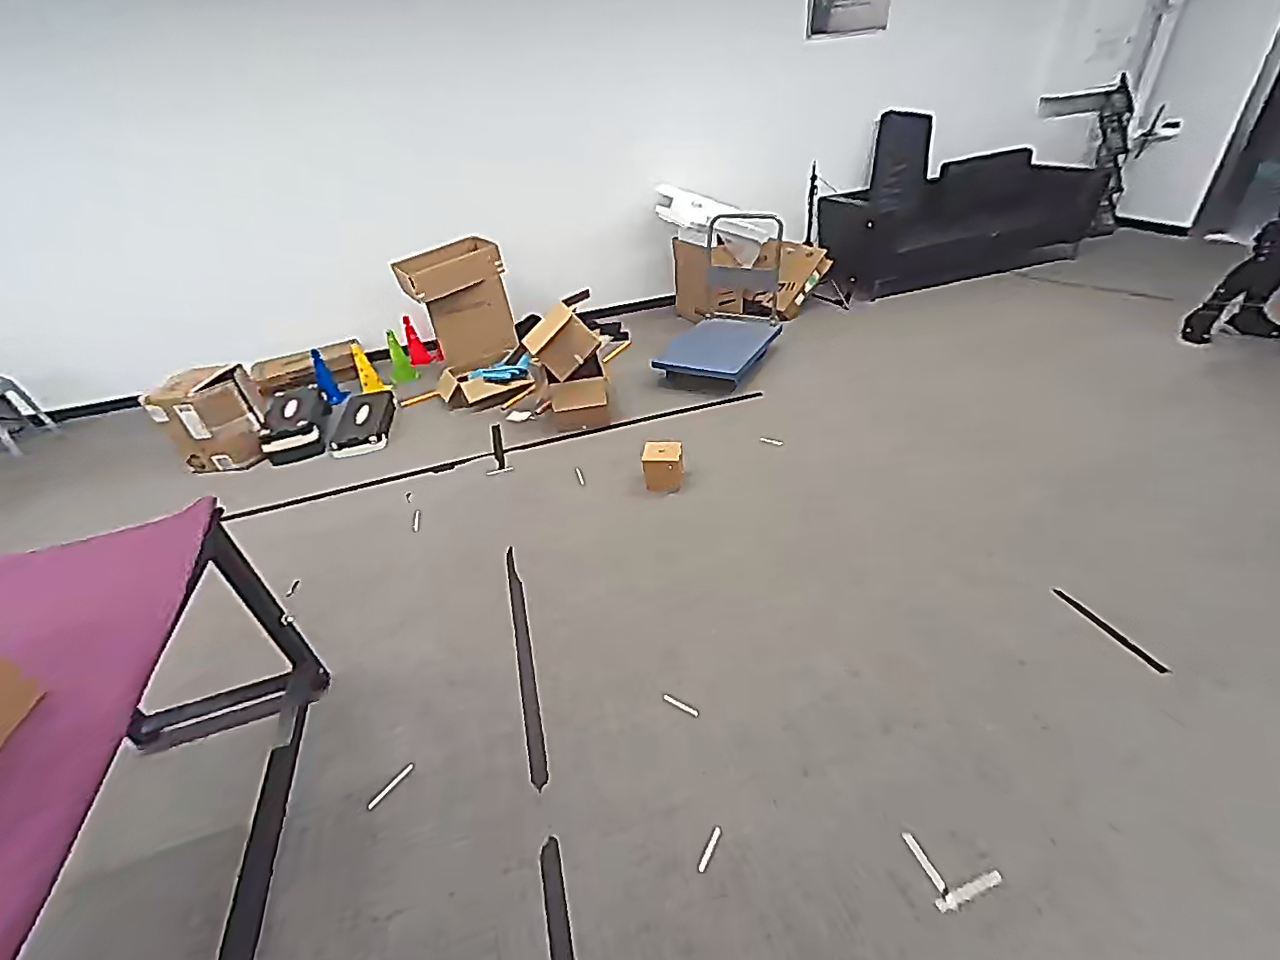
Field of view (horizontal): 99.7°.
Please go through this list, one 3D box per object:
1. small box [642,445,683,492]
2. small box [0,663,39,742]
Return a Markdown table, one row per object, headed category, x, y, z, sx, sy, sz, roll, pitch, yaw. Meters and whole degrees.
| category | x | y | z | sx | sy | sz | roll | pitch | yaw |
| --- | --- | --- | --- | --- | --- | --- | --- | --- | --- |
| small box | 0.112 | -0.055 | 2.603 | 0.179 | 0.176 | 0.168 | 1 | 35 | 10 |
| small box | -1.167 | 0.389 | 0.876 | 0.168 | 0.176 | 0.179 | -10 | 34 | -5 |
